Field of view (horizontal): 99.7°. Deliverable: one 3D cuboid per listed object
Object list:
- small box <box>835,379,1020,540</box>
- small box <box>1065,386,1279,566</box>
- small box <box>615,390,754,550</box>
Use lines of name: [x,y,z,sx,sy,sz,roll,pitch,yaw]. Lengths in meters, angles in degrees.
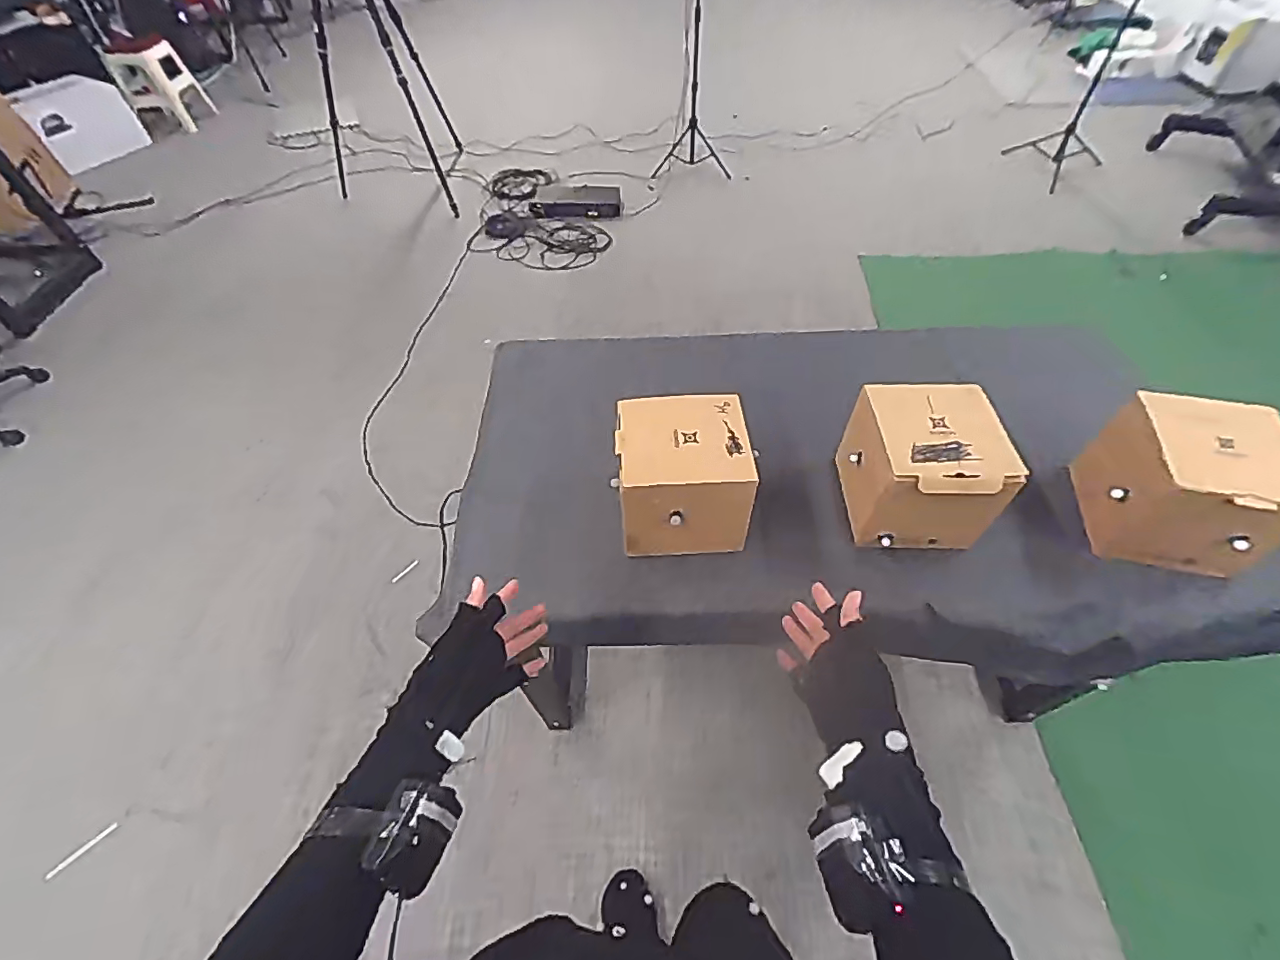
small box: [0.399,-0.026,0.788,0.168,0.176,0.179,0,52,3]
small box: [0.744,-0.002,0.755,0.168,0.176,0.179,10,53,9]
small box: [0.059,-0.010,0.790,0.179,0.176,0.168,-4,51,0]
